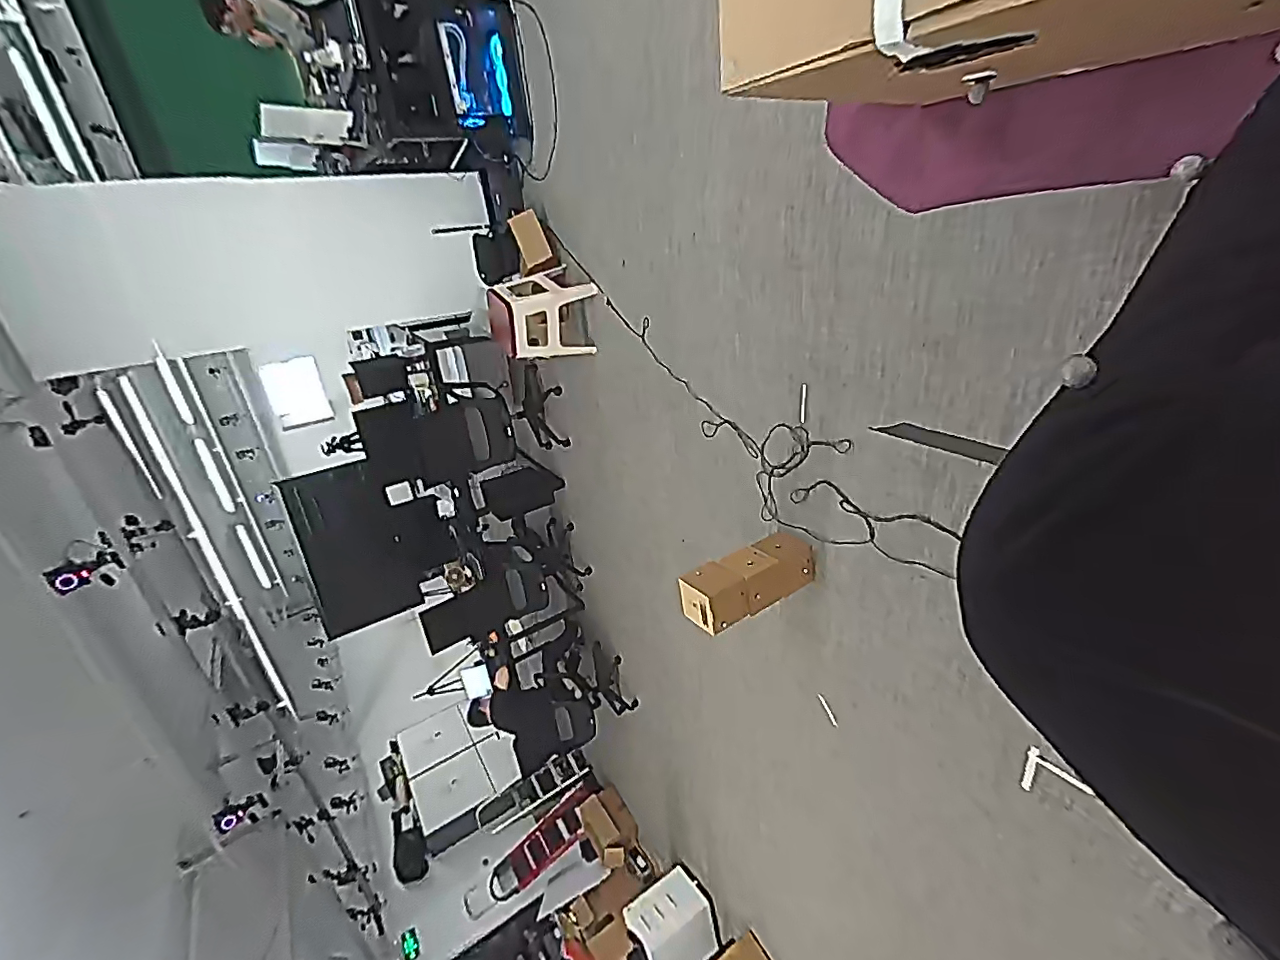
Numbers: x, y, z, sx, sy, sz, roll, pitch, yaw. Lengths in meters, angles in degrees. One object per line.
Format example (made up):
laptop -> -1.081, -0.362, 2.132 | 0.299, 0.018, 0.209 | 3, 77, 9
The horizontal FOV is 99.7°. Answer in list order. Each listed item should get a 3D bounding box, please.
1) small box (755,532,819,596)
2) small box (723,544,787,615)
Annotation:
small box -> 0.569, 0.318, 2.097 | 0.179, 0.176, 0.168 | 22, 128, 55
small box -> 0.433, 0.365, 2.023 | 0.168, 0.176, 0.179 | 25, 131, 54
